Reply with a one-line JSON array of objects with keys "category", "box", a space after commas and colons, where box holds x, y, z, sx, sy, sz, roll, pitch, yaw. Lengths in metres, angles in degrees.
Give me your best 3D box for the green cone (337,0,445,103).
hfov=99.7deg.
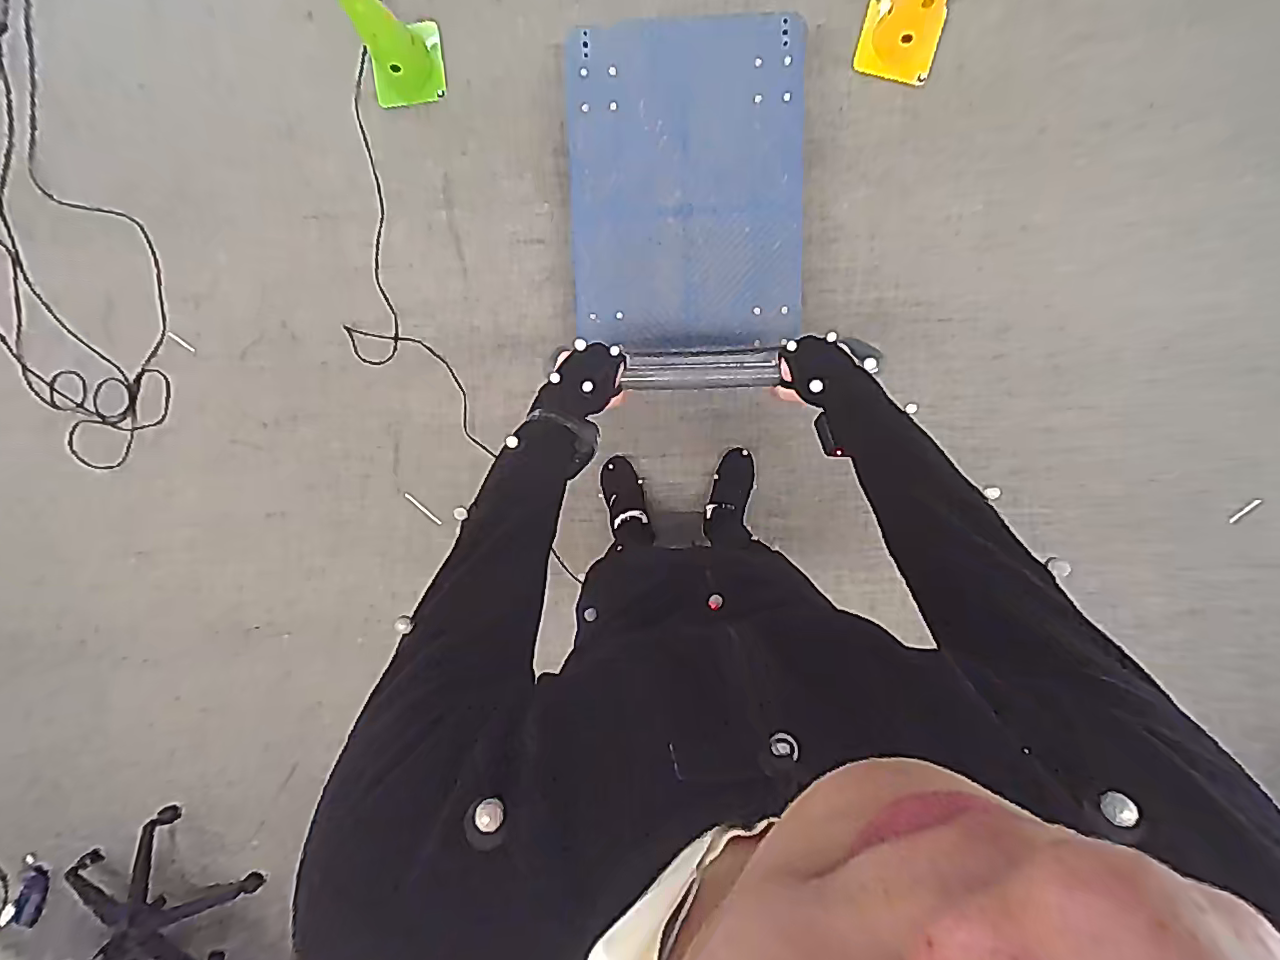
[{"category": "green cone", "box": [-0.659, -1.138, 1.320, 0.202, 0.368, 0.200, -6, 97, 6]}]
